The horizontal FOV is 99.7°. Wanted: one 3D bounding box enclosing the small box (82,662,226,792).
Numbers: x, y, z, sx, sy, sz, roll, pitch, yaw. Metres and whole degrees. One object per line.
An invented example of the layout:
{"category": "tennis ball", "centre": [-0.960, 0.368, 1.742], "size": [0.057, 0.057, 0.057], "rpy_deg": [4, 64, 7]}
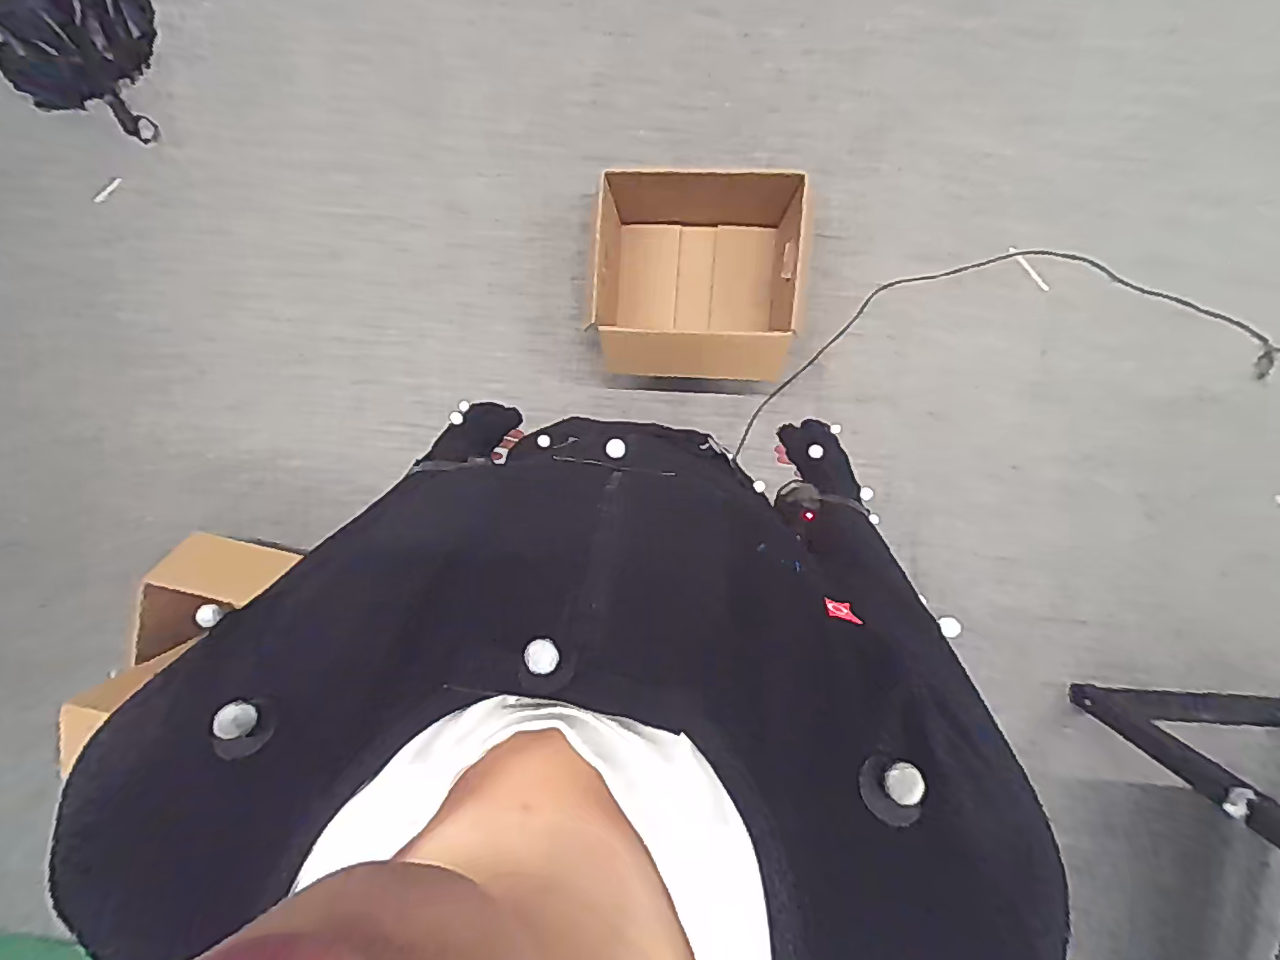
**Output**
{"category": "small box", "centre": [-1.033, 0.521, 1.161], "size": [0.168, 0.176, 0.179], "rpy_deg": [10, 100, 1]}
